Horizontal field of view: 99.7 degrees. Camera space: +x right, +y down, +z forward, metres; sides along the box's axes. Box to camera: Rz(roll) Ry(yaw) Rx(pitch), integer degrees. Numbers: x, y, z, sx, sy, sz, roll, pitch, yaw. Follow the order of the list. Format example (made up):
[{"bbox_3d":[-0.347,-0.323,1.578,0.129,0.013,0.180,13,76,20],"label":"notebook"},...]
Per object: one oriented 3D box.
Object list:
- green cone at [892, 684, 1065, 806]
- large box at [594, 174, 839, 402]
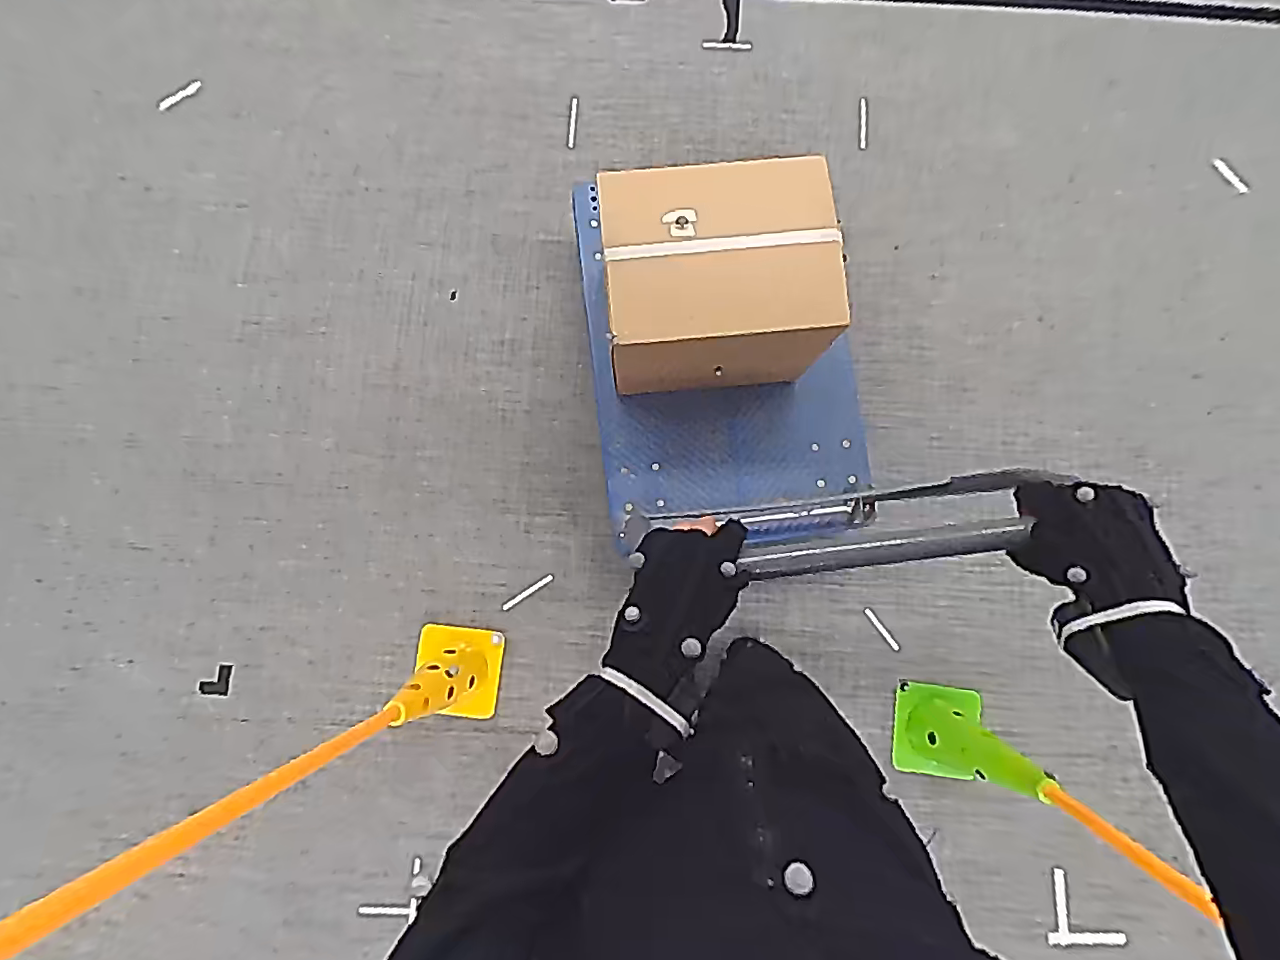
[{"bbox_3d":[0.698,0.567,1.102,0.202,0.368,0.200,7,82,0],"label":"green cone"},{"bbox_3d":[0.132,-0.357,1.088,0.408,0.320,0.320,-5,83,0],"label":"large box"}]
